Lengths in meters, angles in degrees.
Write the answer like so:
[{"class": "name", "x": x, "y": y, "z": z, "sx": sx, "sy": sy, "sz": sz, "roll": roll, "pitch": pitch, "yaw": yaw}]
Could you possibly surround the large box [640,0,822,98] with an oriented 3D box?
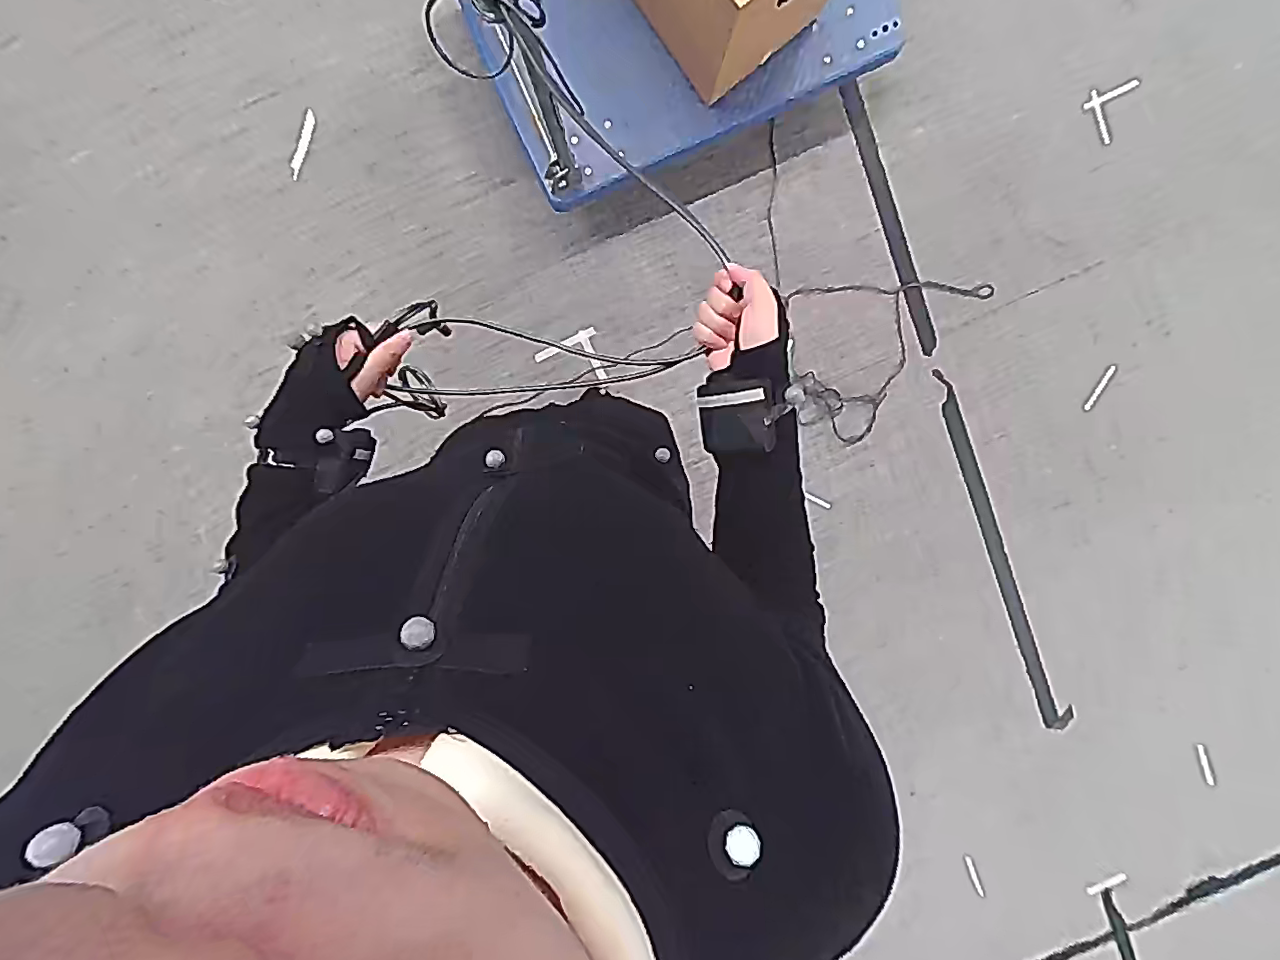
[{"class": "large box", "x": 0.153, "y": -1.048, "z": 0.995, "sx": 0.320, "sy": 0.320, "sz": 0.408, "roll": -39, "pitch": 100, "yaw": 4}]
